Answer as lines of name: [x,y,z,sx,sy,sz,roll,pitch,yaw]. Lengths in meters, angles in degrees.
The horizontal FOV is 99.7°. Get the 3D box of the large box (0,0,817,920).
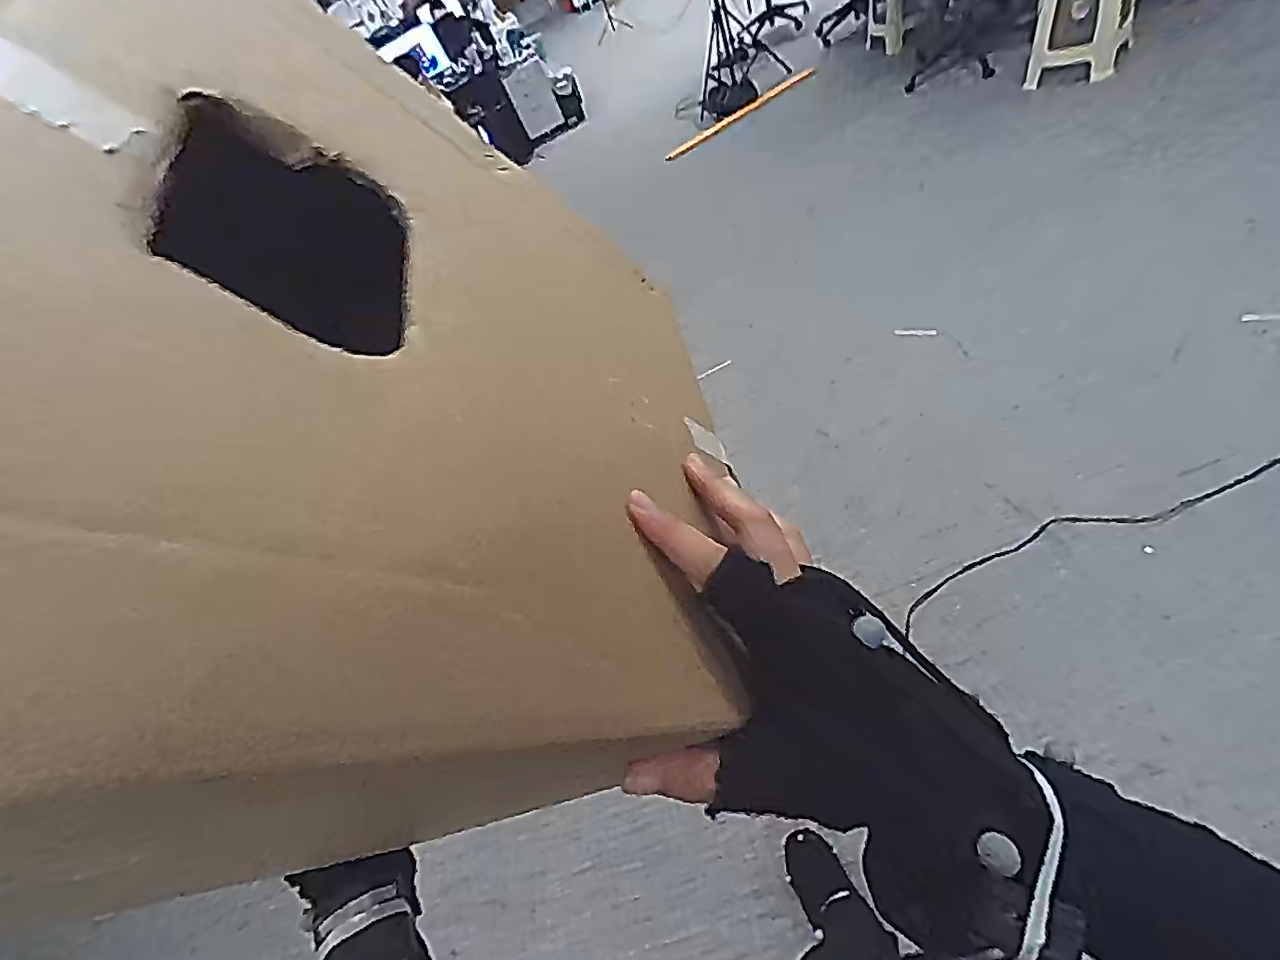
large box: [-0.181,0.034,0.332,0.408,0.320,0.320,-34,54,29]
